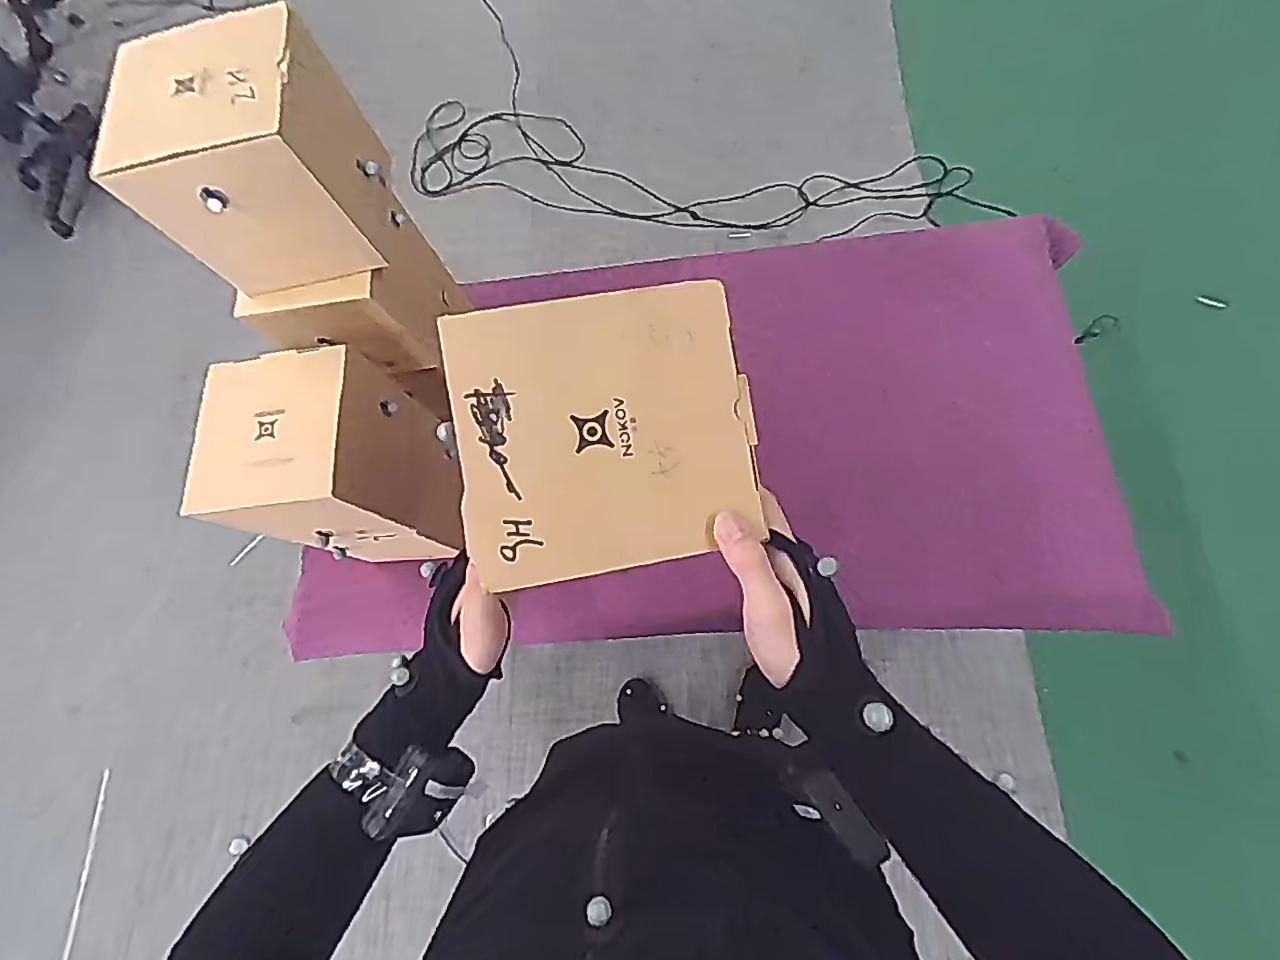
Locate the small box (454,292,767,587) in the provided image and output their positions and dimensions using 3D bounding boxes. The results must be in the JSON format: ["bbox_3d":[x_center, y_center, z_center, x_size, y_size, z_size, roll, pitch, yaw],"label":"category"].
[{"bbox_3d":[-0.026,-0.023,0.407,0.179,0.176,0.168,-8,87,-7],"label":"small box"}]

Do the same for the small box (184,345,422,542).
[{"bbox_3d":[-0.377,-0.034,0.641,0.168,0.176,0.179,-6,72,6],"label":"small box"}]

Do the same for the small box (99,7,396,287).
[{"bbox_3d":[-0.381,-0.325,0.559,0.179,0.176,0.168,-10,72,4],"label":"small box"}]

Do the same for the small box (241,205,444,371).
[{"bbox_3d":[-0.372,-0.252,0.709,0.168,0.176,0.179,-7,72,5],"label":"small box"}]
